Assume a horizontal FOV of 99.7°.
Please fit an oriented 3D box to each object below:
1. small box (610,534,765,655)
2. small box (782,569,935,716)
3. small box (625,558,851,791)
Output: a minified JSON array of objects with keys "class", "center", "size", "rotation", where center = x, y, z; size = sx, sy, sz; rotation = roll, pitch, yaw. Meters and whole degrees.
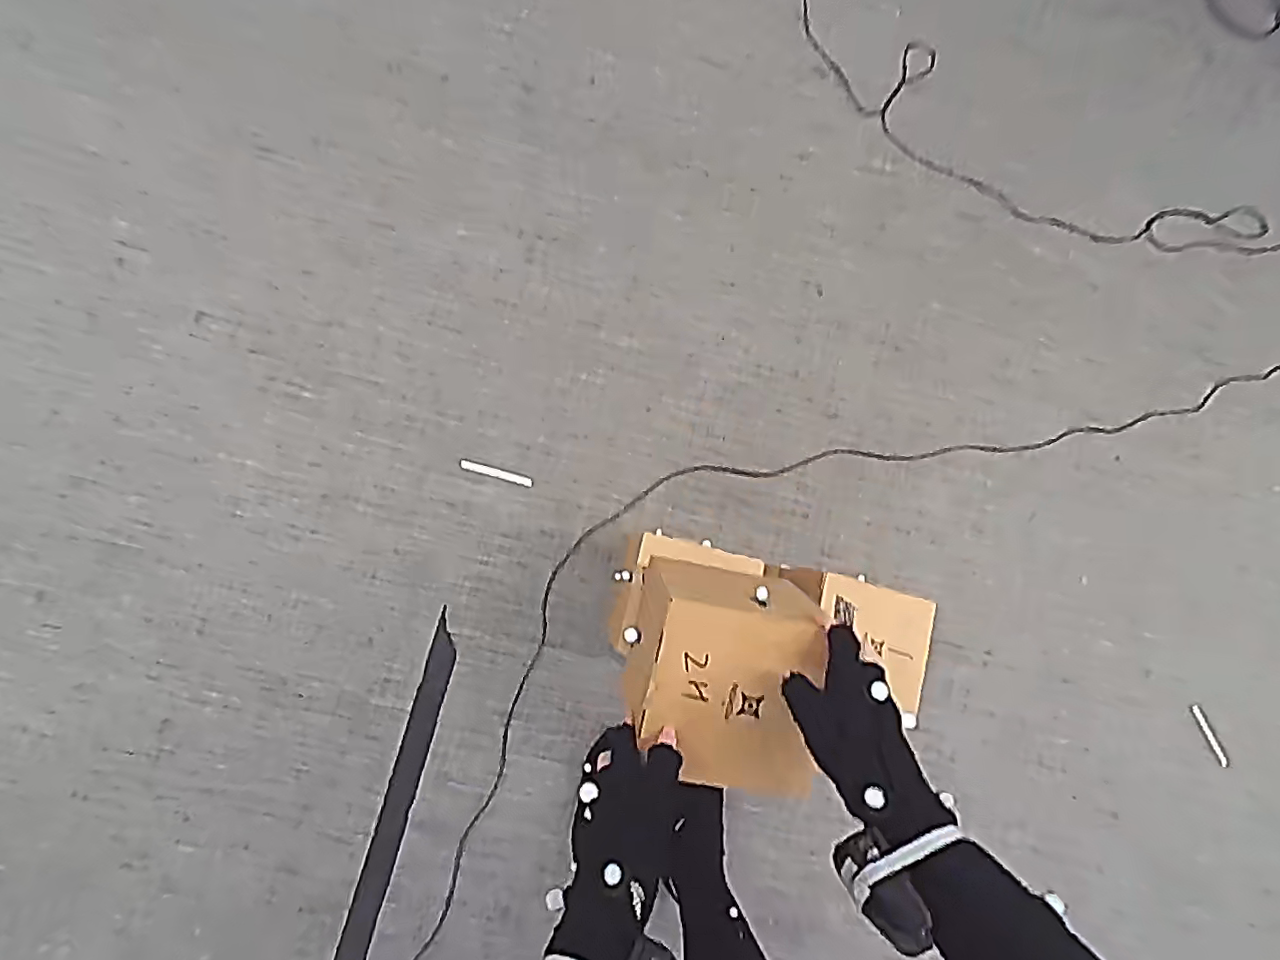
[{"class":"small box","center":[0.062,0.180,0.805],"size":[0.179,0.176,0.168],"rotation":[14,81,-5]},{"class":"small box","center":[0.308,0.237,0.830],"size":[0.179,0.176,0.168],"rotation":[17,81,-7]},{"class":"small box","center":[0.087,0.191,0.575],"size":[0.179,0.176,0.168],"rotation":[11,95,-6]}]
